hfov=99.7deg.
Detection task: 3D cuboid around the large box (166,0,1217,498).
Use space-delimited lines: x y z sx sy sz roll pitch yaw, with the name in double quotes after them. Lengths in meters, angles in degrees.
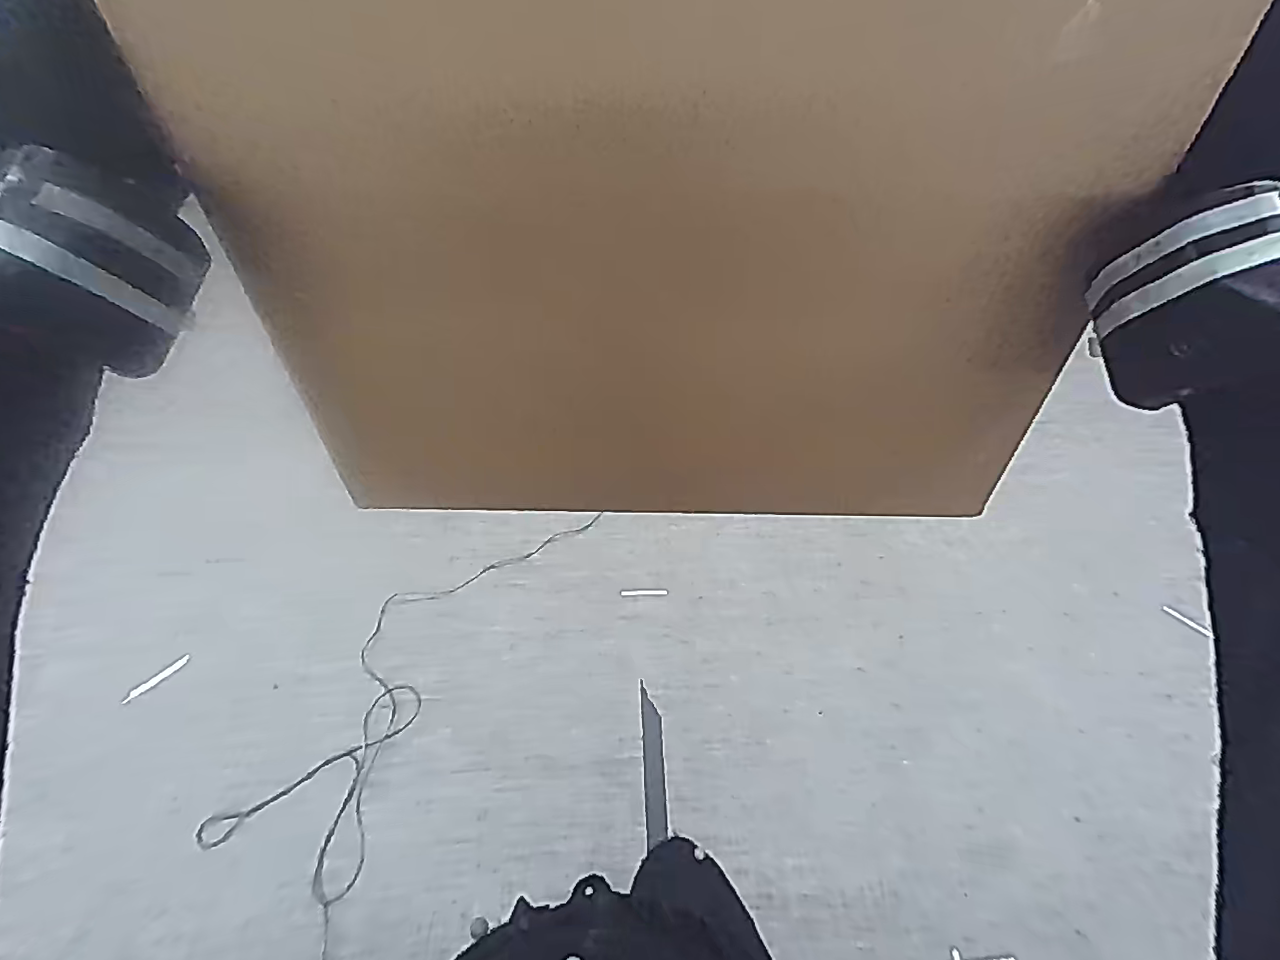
0.018 -0.198 0.376 0.408 0.320 0.320 1 41 1 "large box"
